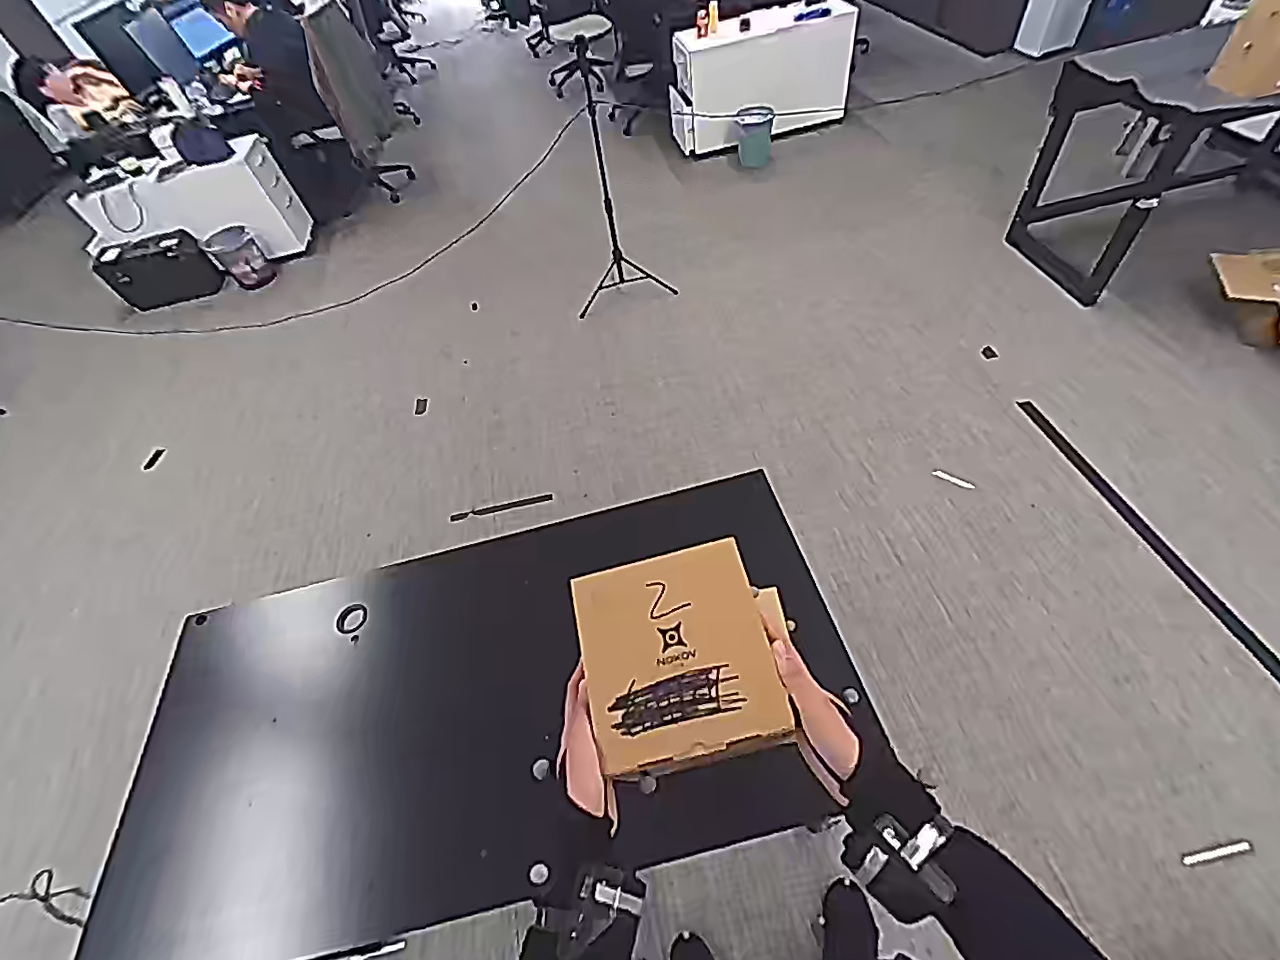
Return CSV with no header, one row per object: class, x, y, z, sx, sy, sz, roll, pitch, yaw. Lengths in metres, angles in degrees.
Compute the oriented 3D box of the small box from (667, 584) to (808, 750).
small box,0.136,0.276,0.791,0.168,0.176,0.179,-9,52,5
